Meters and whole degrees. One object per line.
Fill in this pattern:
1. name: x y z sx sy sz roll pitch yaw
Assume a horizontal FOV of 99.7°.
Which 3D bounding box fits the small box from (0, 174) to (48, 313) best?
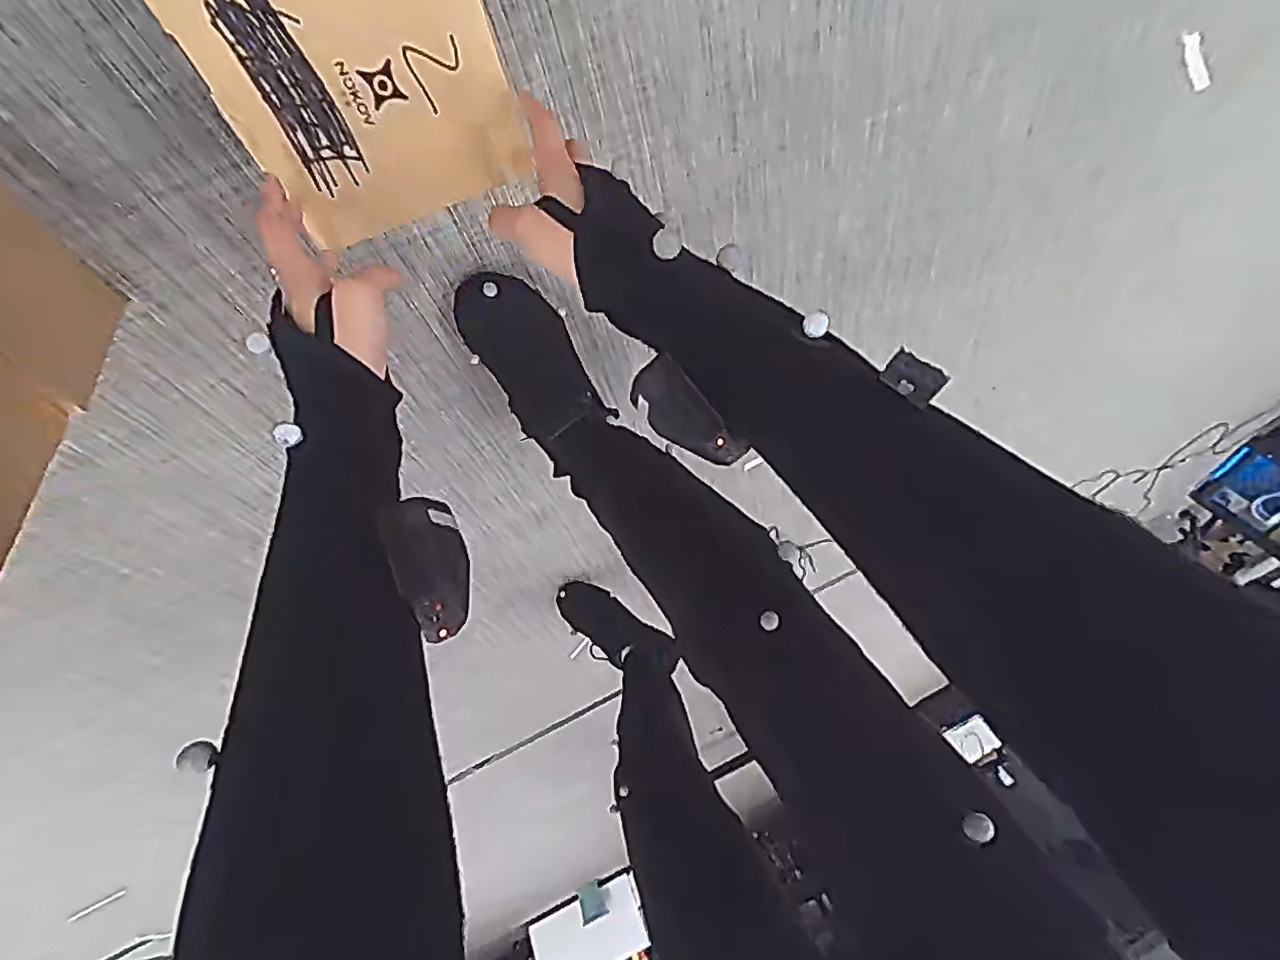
1. small box: -0.559 -0.182 0.341 0.168 0.176 0.179 -24 143 -6
